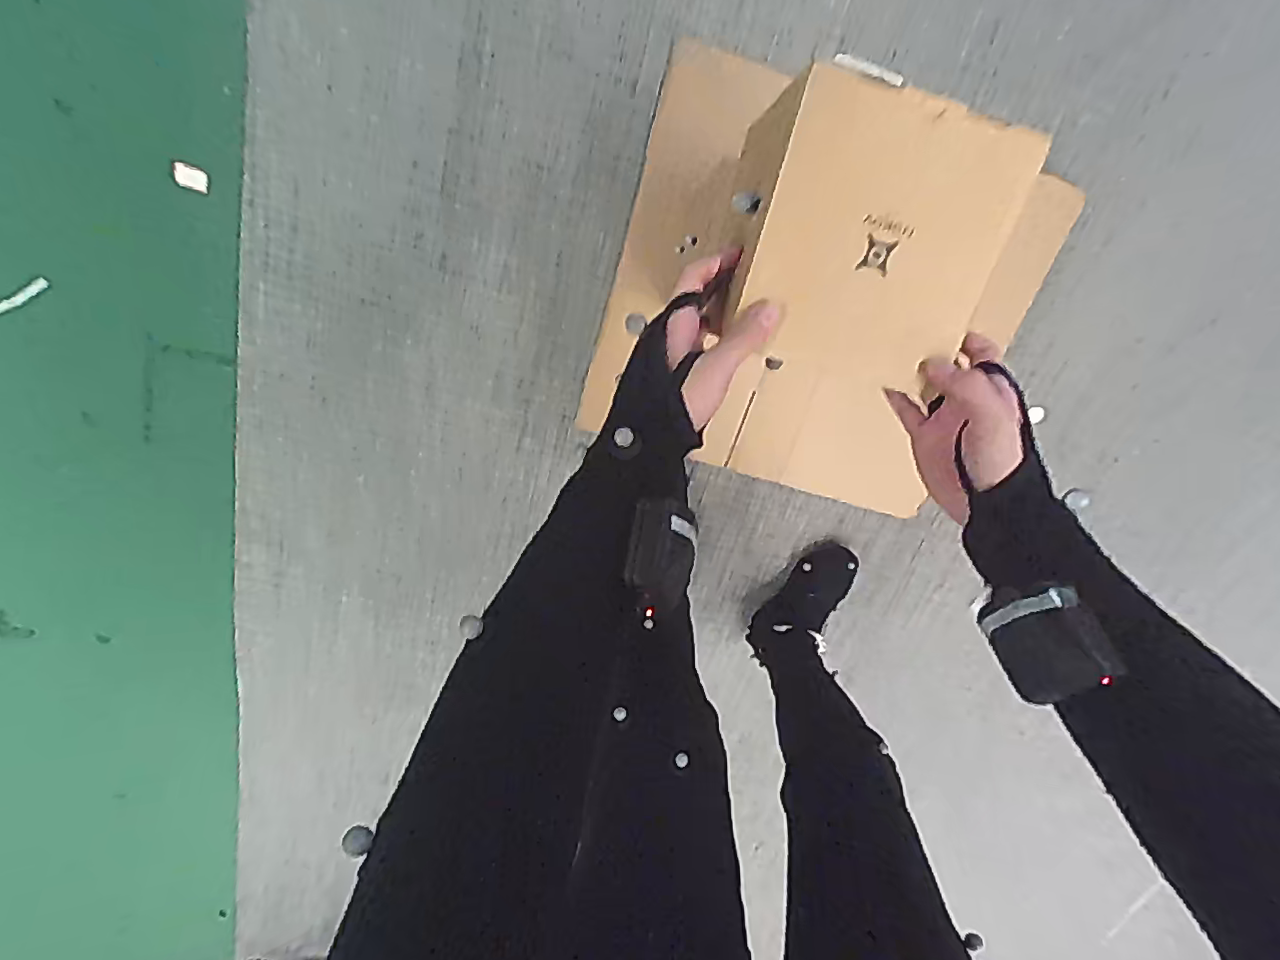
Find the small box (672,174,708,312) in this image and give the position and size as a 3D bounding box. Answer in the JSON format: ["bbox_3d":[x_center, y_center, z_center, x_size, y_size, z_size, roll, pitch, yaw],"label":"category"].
[{"bbox_3d":[0.144,-0.332,0.803,0.168,0.176,0.179,8,113,-4],"label":"small box"}]

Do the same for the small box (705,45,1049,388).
[{"bbox_3d":[0.156,-0.192,0.432,0.168,0.176,0.179,12,110,-6],"label":"small box"}]

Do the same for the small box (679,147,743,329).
[{"bbox_3d":[0.146,-0.269,0.652,0.168,0.176,0.179,11,111,-5],"label":"small box"}]
